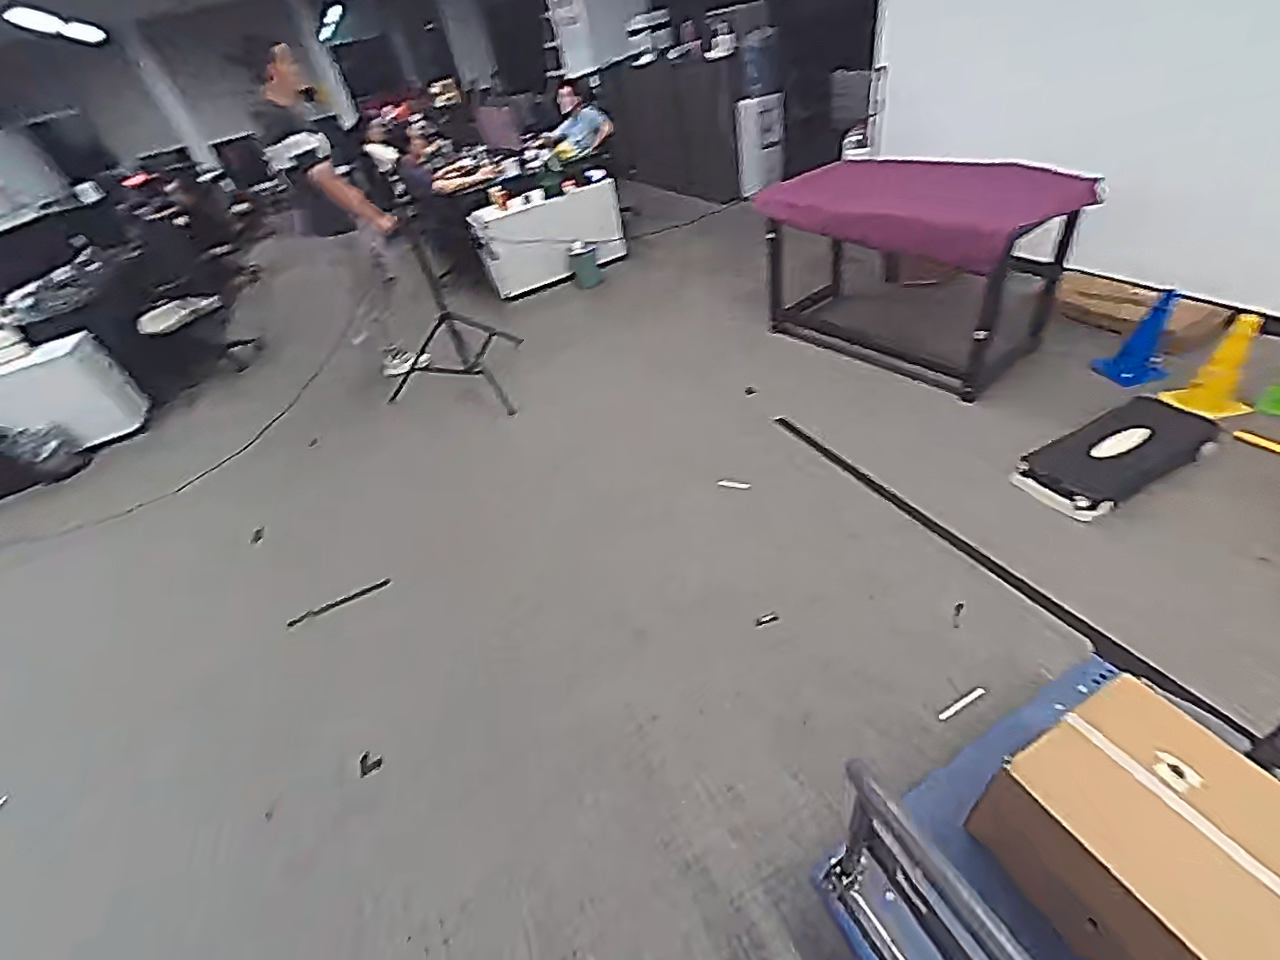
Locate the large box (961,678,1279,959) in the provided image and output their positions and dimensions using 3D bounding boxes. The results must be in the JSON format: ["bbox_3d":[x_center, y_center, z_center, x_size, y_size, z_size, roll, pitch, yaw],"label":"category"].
[{"bbox_3d":[0.847,0.638,0.907,0.320,0.320,0.408,-25,41,-14],"label":"large box"}]
